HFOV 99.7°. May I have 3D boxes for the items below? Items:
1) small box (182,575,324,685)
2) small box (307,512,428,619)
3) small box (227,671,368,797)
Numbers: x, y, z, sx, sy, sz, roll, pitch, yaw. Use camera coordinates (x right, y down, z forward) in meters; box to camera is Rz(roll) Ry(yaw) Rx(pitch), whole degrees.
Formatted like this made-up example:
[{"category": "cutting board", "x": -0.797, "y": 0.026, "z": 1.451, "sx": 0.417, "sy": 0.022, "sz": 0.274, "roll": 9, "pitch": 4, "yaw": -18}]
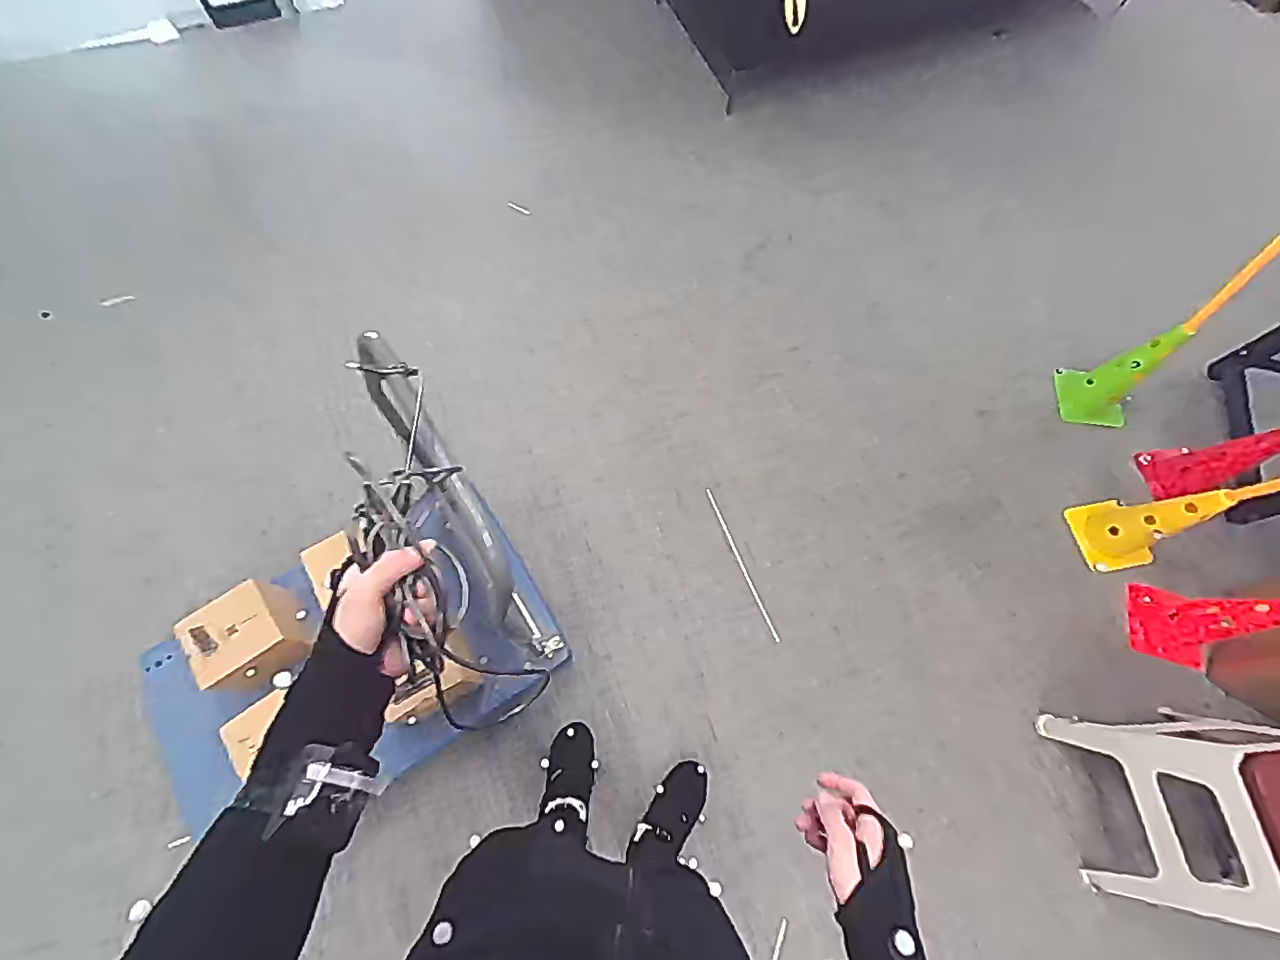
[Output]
[{"category": "small box", "x": -0.865, "y": 0.346, "z": 1.225, "sx": 0.179, "sy": 0.176, "sz": 0.168, "roll": -34, "pitch": 73, "yaw": -15}, {"category": "small box", "x": -0.639, "y": 0.210, "z": 1.287, "sx": 0.179, "sy": 0.176, "sz": 0.168, "roll": -30, "pitch": 71, "yaw": -13}, {"category": "small box", "x": -0.713, "y": 0.531, "z": 1.152, "sx": 0.179, "sy": 0.176, "sz": 0.168, "roll": -35, "pitch": 72, "yaw": -14}]
